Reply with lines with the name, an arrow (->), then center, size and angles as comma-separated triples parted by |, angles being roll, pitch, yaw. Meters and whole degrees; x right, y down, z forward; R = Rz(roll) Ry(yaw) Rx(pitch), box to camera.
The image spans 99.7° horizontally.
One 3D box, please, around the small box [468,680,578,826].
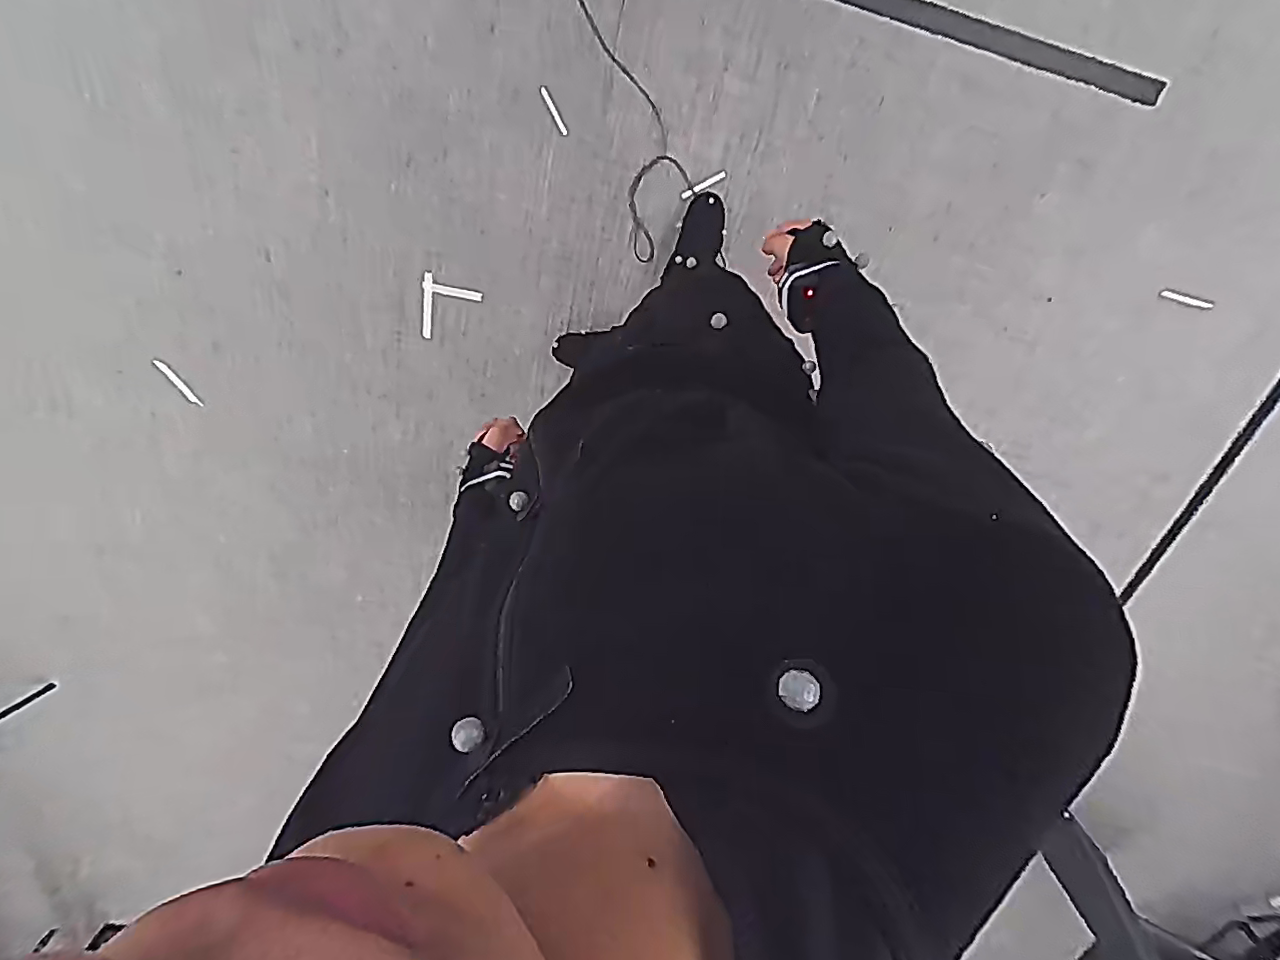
small box -> -0.212, 0.501, 1.008 | 0.168, 0.176, 0.179 | 9, 115, -4
